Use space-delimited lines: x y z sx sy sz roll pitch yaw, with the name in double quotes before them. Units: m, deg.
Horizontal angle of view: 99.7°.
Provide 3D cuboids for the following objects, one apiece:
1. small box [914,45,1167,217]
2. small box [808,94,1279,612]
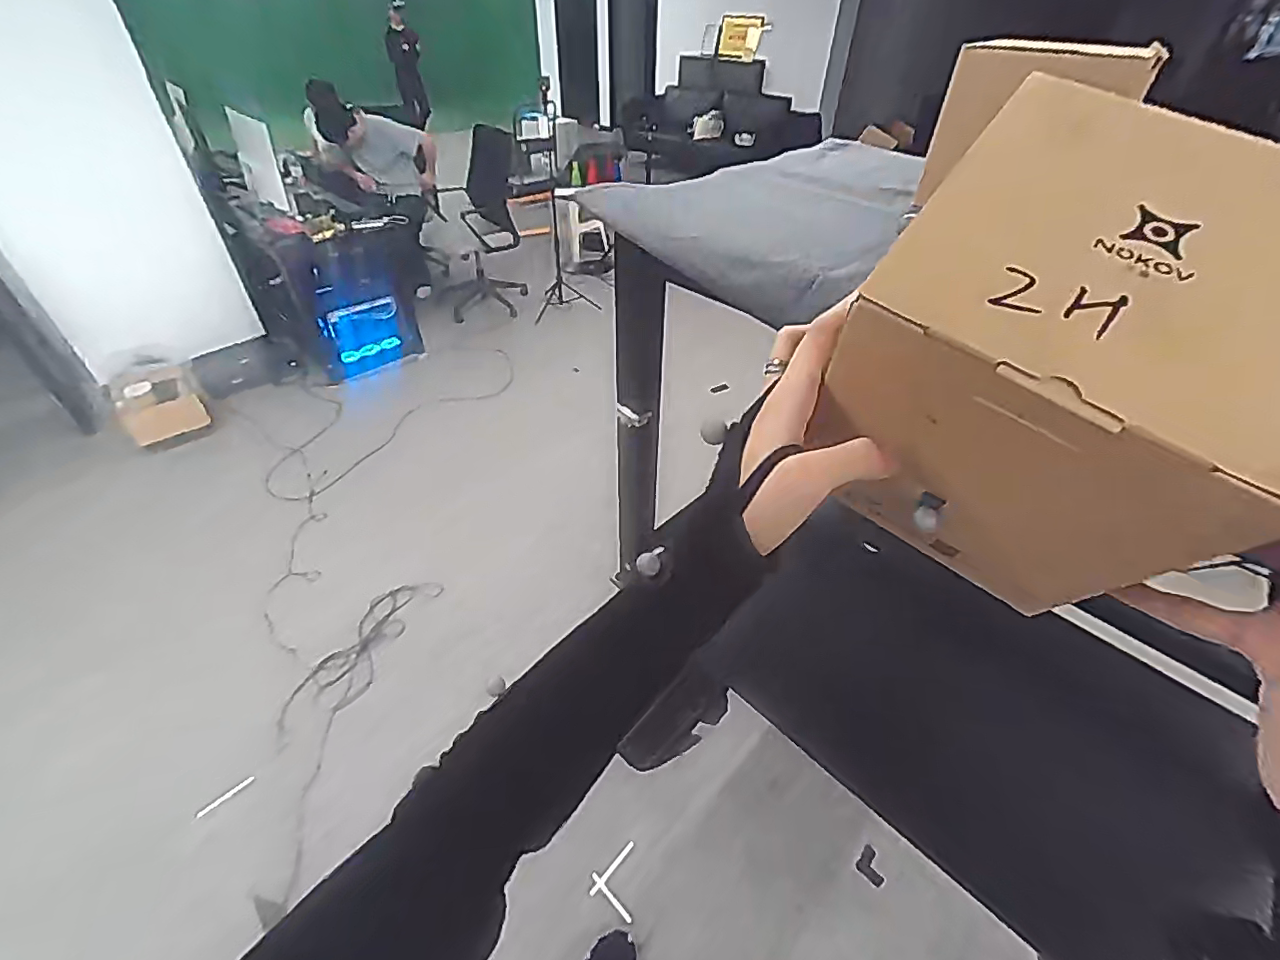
"small box" 0.475 -0.413 0.661 0.179 0.176 0.168 32 50 28
"small box" 0.215 -0.055 0.296 0.168 0.176 0.179 35 74 19
